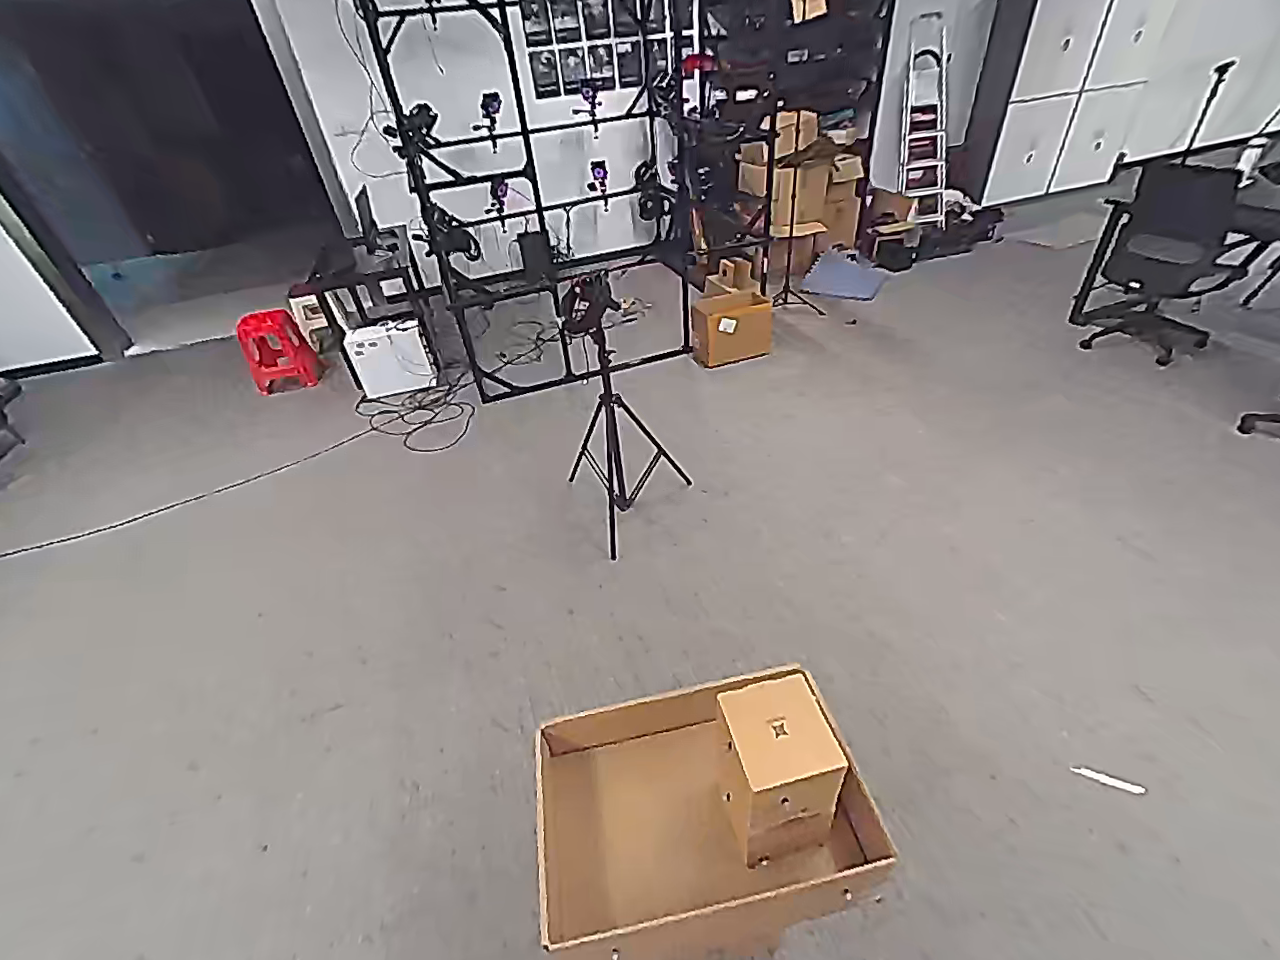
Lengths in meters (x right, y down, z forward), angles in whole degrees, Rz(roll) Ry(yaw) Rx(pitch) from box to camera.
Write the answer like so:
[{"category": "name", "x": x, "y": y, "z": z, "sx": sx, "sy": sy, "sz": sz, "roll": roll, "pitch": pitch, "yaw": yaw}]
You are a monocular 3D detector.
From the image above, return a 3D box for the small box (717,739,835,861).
[{"category": "small box", "x": 0.258, "y": 0.608, "z": 1.054, "sx": 0.168, "sy": 0.176, "sz": 0.179, "roll": -12, "pitch": 37, "yaw": -7}]

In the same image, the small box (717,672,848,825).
[{"category": "small box", "x": 0.243, "y": 0.479, "z": 0.956, "sx": 0.168, "sy": 0.176, "sz": 0.179, "roll": -12, "pitch": 37, "yaw": -7}]
